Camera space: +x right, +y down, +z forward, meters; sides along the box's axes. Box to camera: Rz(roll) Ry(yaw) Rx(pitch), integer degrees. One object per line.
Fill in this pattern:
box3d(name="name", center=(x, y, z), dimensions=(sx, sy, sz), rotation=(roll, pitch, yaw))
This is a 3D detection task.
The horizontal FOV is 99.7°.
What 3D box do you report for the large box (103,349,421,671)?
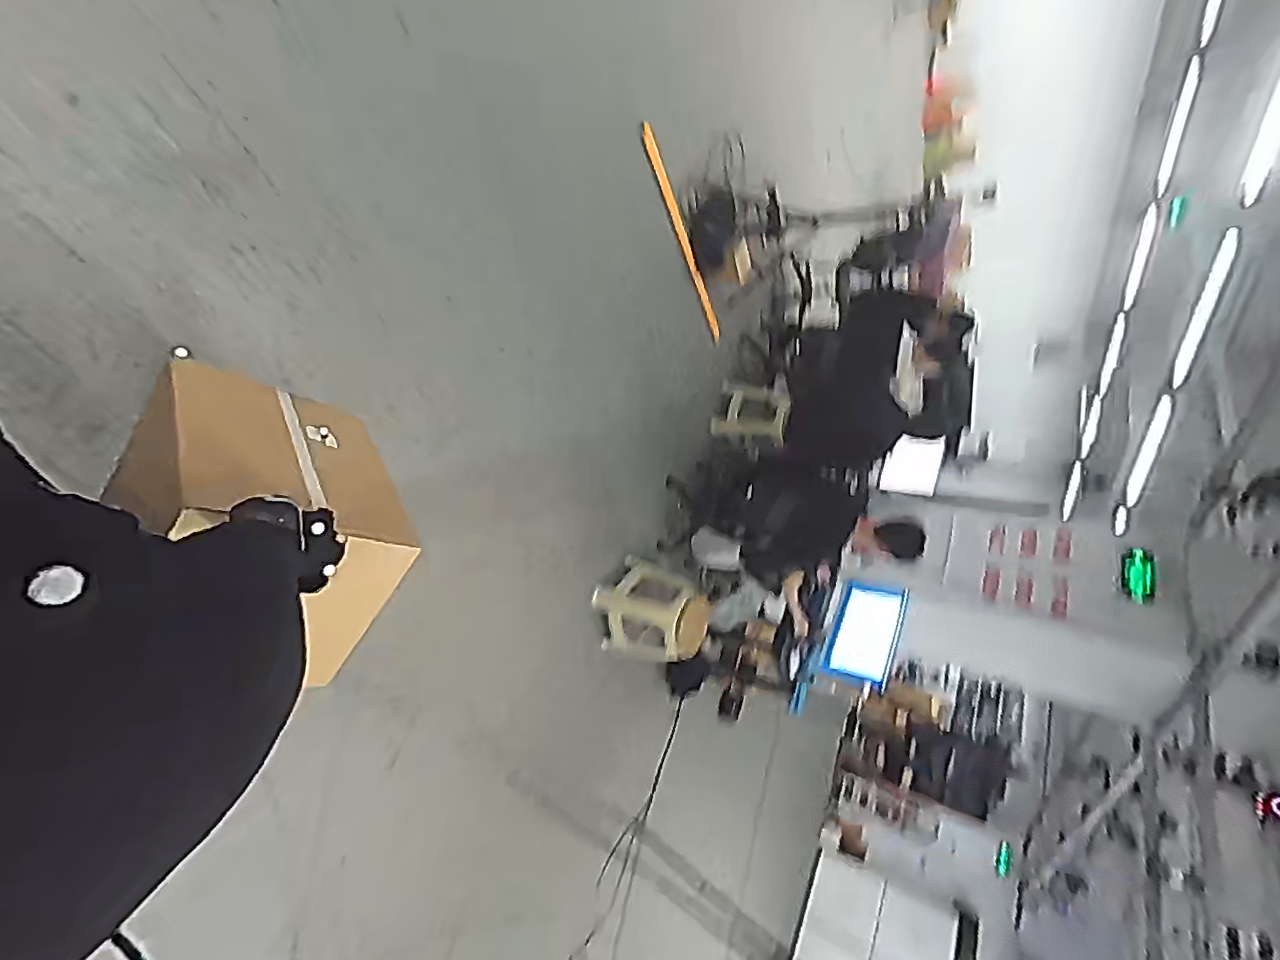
box3d(name="large box", center=(-0.639, 0.055, 0.905), dimensions=(0.320, 0.408, 0.320), rotation=(-52, 143, 12))
